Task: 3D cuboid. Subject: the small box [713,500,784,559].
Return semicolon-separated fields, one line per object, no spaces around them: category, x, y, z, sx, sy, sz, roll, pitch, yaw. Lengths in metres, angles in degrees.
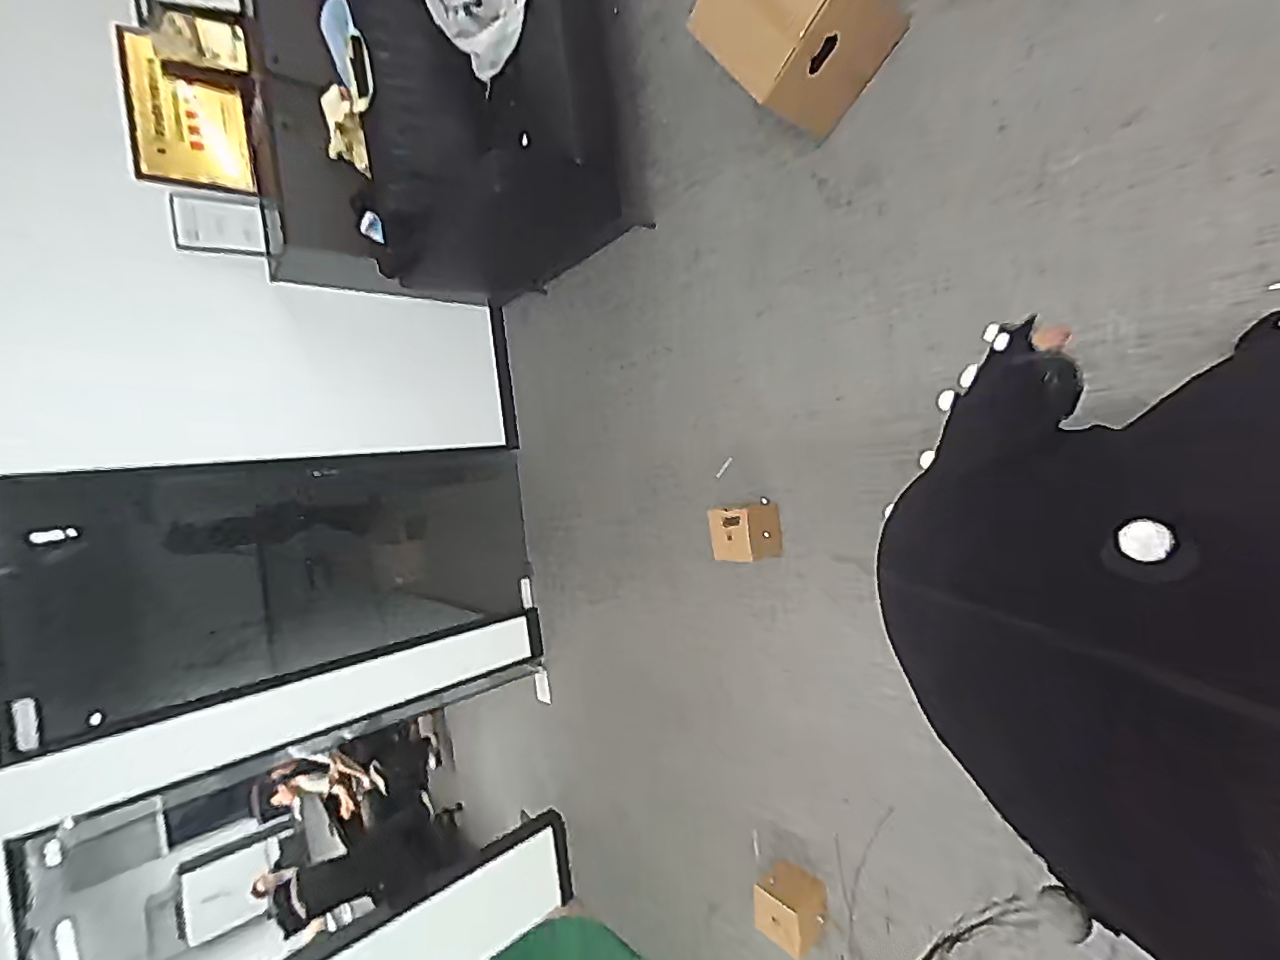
small box;0.368;0.162;1.827;0.168;0.176;0.179;-4;93;49

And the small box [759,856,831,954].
small box;0.523;1.423;1.830;0.179;0.176;0.168;2;98;49
